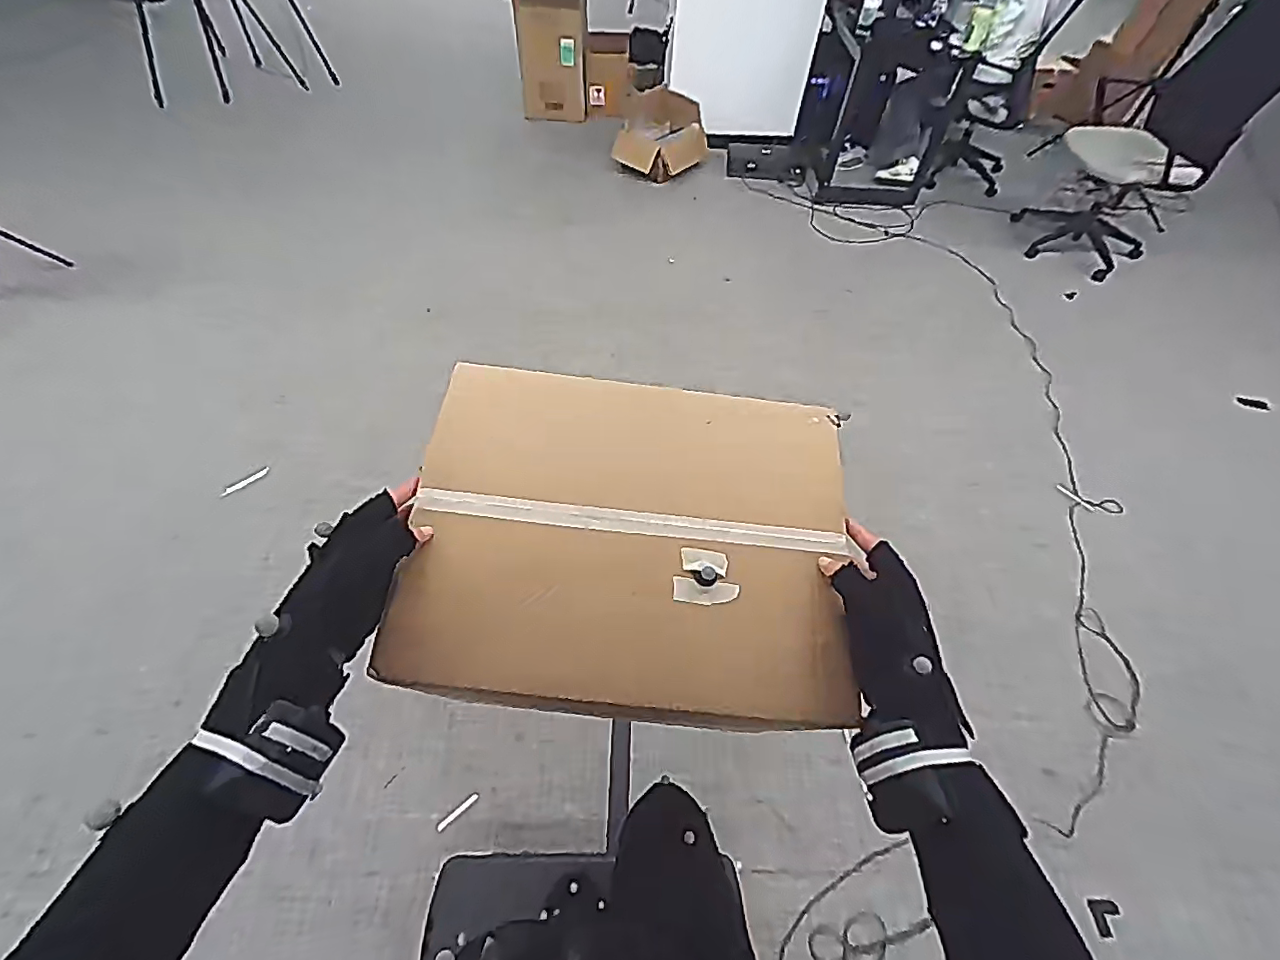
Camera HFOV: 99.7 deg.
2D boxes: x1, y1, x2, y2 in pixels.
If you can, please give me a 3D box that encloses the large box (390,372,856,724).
[{"bbox_3d":[-0.015,0.106,0.650,0.408,0.320,0.320,7,65,-3],"label":"large box"}]
